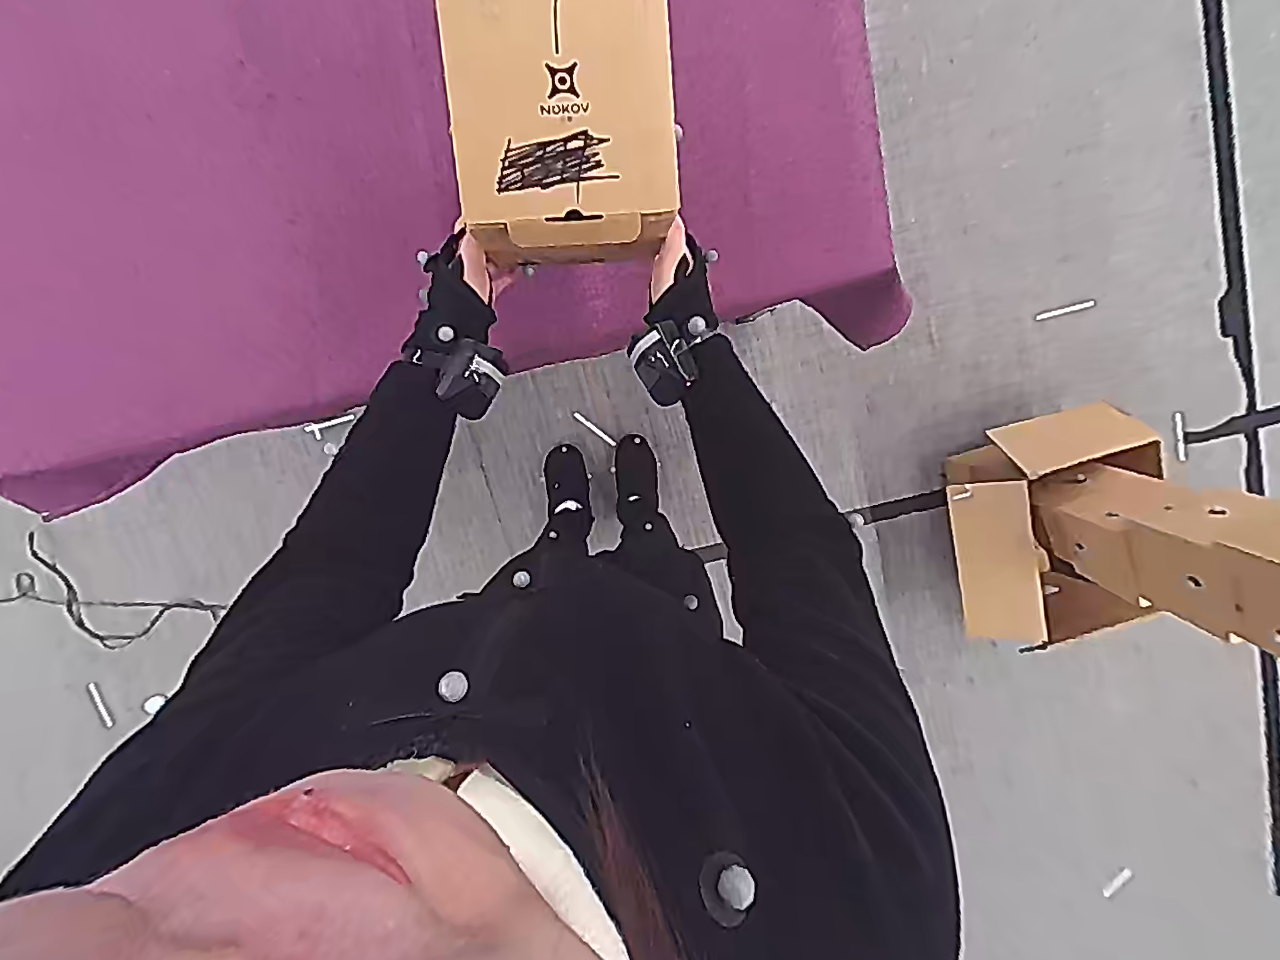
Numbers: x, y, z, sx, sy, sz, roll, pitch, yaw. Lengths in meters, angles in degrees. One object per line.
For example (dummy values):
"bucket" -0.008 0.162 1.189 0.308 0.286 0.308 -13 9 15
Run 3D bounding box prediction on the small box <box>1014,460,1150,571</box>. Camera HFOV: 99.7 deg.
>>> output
"small box" 1.011 0.070 1.237 0.168 0.176 0.179 -35 102 8

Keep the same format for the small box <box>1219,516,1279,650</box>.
"small box" 0.970 0.150 0.751 0.179 0.176 0.168 -20 104 6

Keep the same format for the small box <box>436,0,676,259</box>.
"small box" -0.063 -0.297 0.467 0.168 0.176 0.179 -5 101 -4

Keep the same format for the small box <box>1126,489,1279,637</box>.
"small box" 0.978 0.127 0.913 0.168 0.176 0.179 -21 103 7
